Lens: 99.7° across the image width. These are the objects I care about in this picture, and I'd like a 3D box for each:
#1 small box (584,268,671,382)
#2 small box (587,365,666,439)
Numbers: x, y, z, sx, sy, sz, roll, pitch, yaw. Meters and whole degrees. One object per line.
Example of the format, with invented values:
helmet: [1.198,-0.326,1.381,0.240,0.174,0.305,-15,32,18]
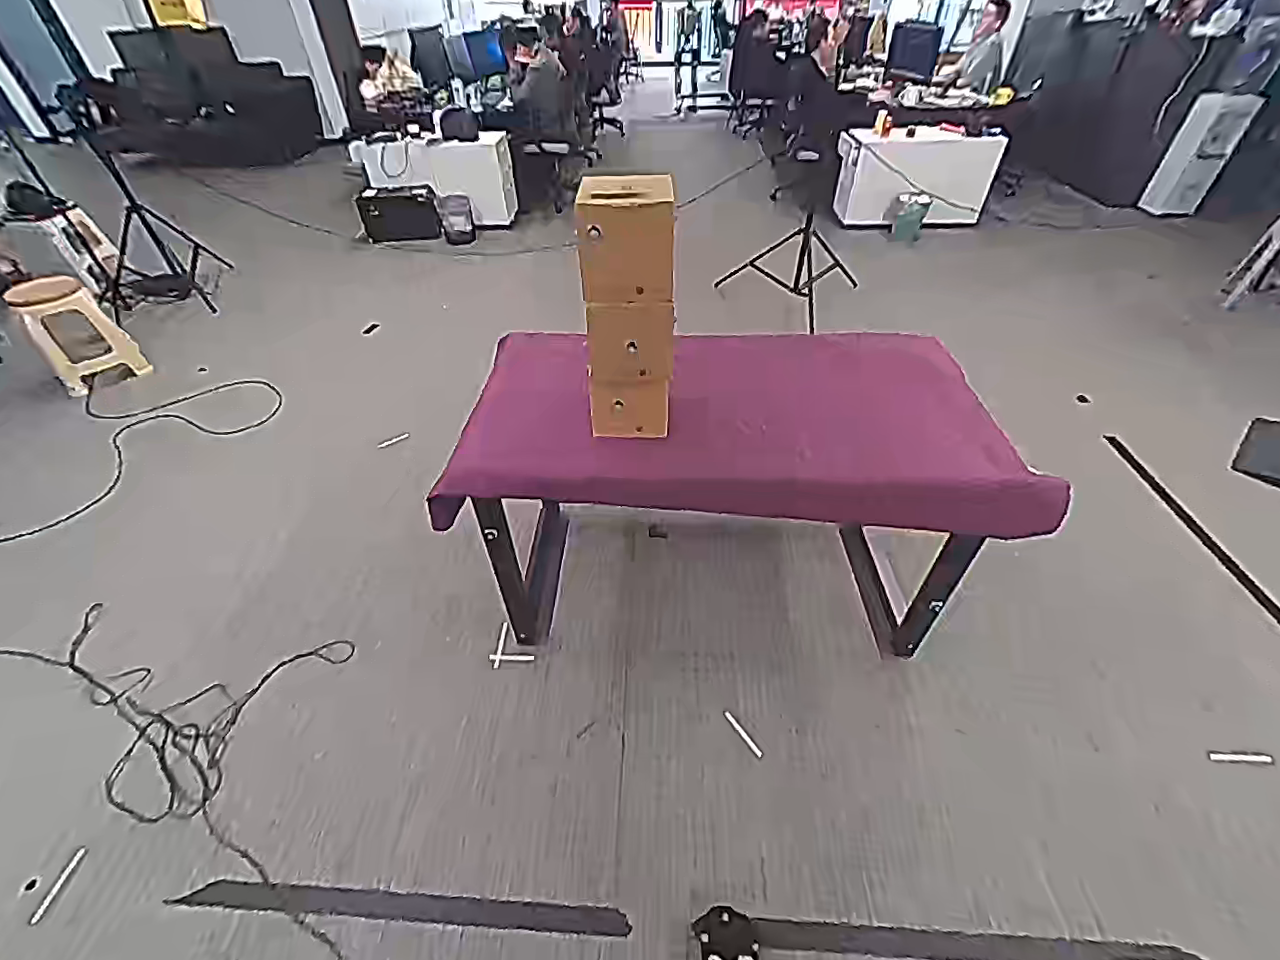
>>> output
small box: [-0.023,-0.312,1.102,0.168,0.176,0.179,-3,43,-2]
small box: [-0.023,-0.207,1.230,0.168,0.176,0.179,0,43,2]
